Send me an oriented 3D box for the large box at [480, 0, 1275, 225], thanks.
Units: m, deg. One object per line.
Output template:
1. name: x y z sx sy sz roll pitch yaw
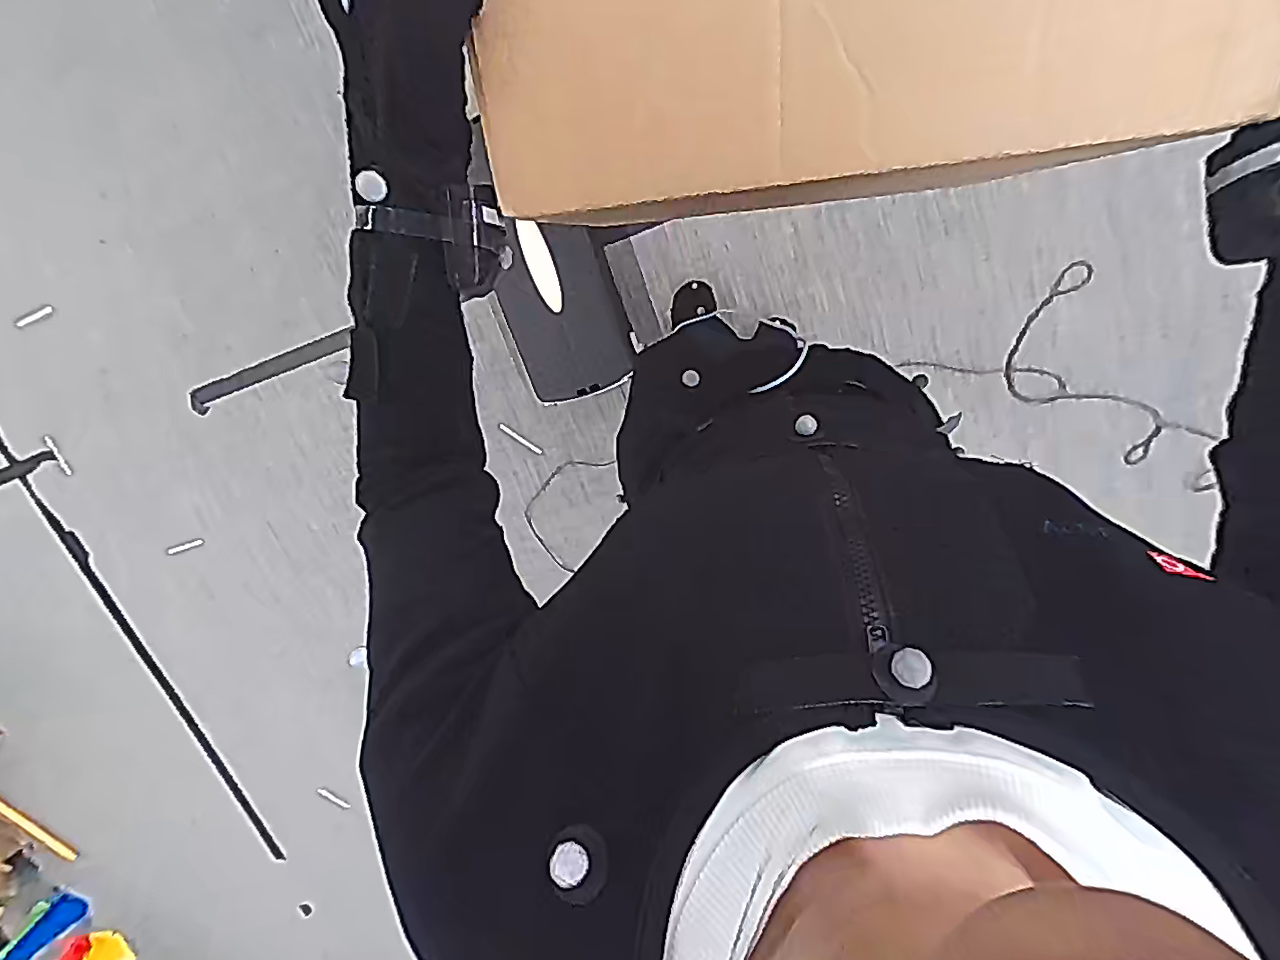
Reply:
1. large box: 0.115 -0.381 0.385 0.408 0.320 0.320 -4 114 8
